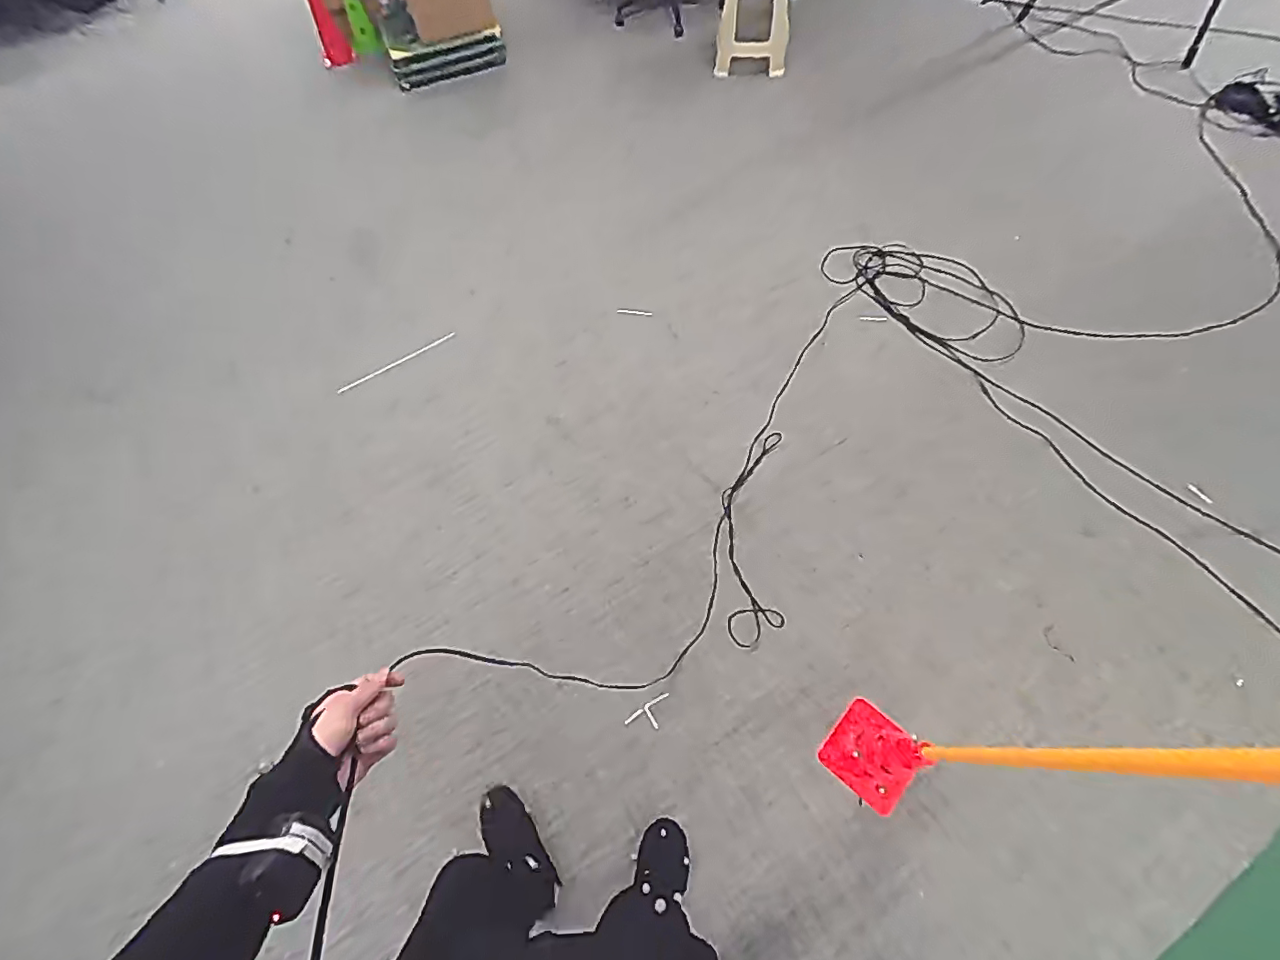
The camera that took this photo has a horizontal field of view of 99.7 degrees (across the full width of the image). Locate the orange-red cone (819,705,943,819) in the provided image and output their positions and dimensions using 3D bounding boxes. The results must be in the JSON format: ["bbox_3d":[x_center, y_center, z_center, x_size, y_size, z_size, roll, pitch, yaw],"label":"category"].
[{"bbox_3d":[0.564,0.611,1.183,0.198,0.360,0.199,40,70,20],"label":"orange-red cone"}]
